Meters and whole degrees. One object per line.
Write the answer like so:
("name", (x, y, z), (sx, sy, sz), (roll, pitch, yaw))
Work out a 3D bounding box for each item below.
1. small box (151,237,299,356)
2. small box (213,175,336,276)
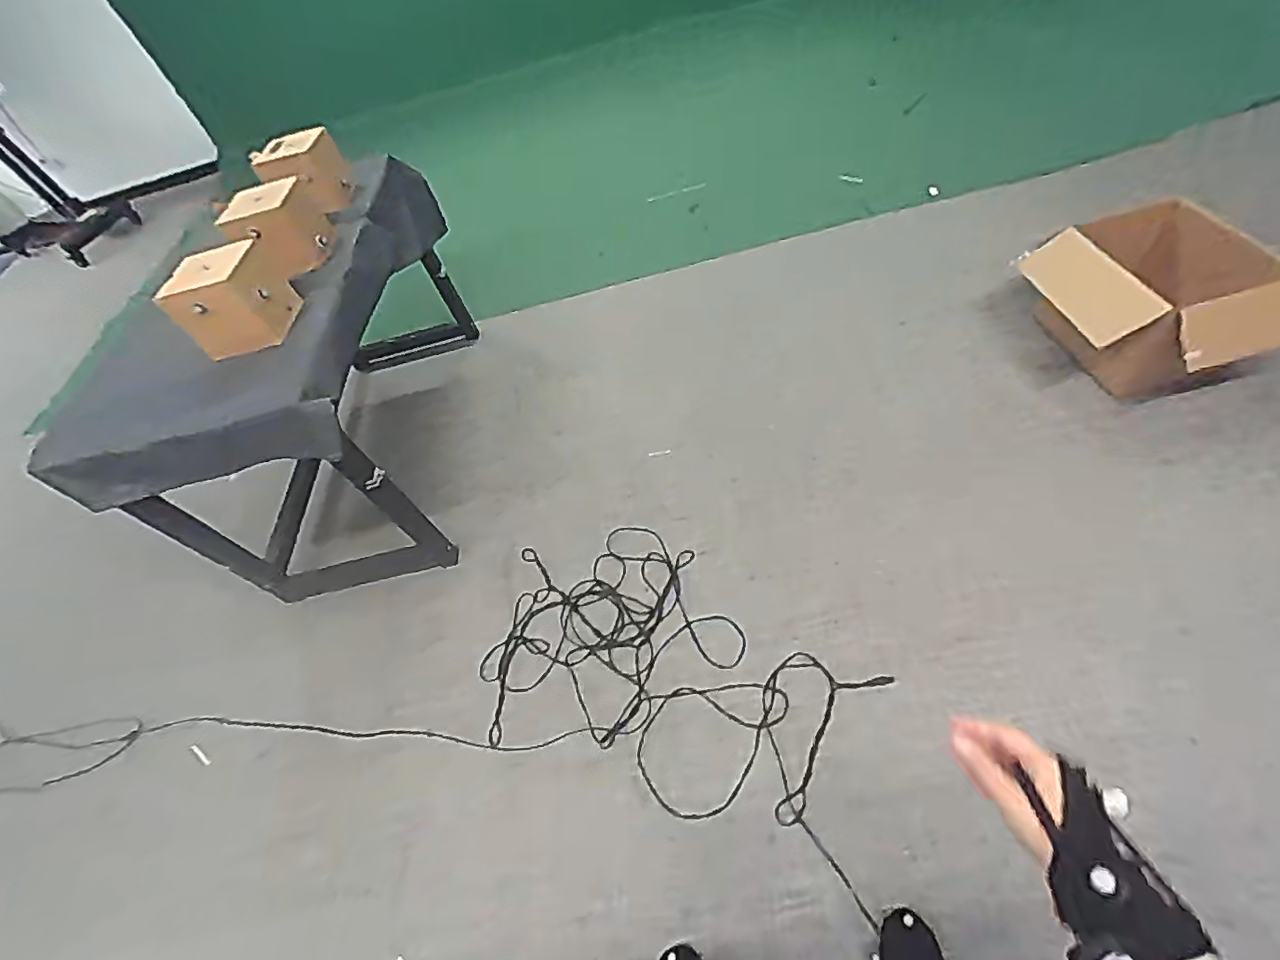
("small box", (-0.911, -0.405, 1.210), (0.179, 0.176, 0.168), (-12, 52, 7))
("small box", (-0.932, -0.647, 1.396), (0.179, 0.176, 0.168), (-11, 53, 6))
